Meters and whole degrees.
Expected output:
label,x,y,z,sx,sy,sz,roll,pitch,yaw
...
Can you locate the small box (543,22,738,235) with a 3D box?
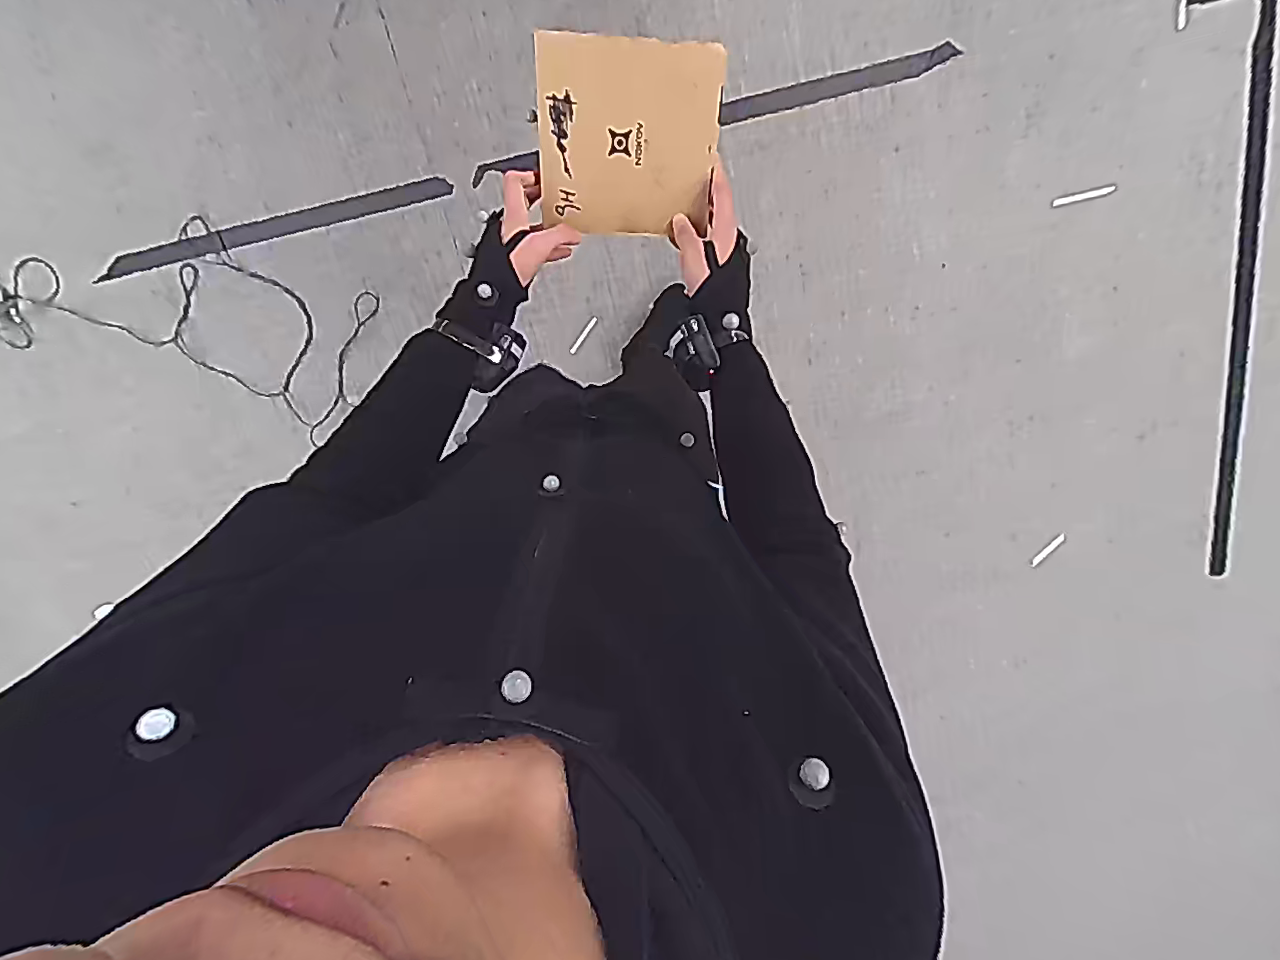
label,x,y,z,sx,sy,sz,roll,pitch,yaw
small box,-0.010,-0.373,0.582,0.179,0.176,0.168,1,125,-5
